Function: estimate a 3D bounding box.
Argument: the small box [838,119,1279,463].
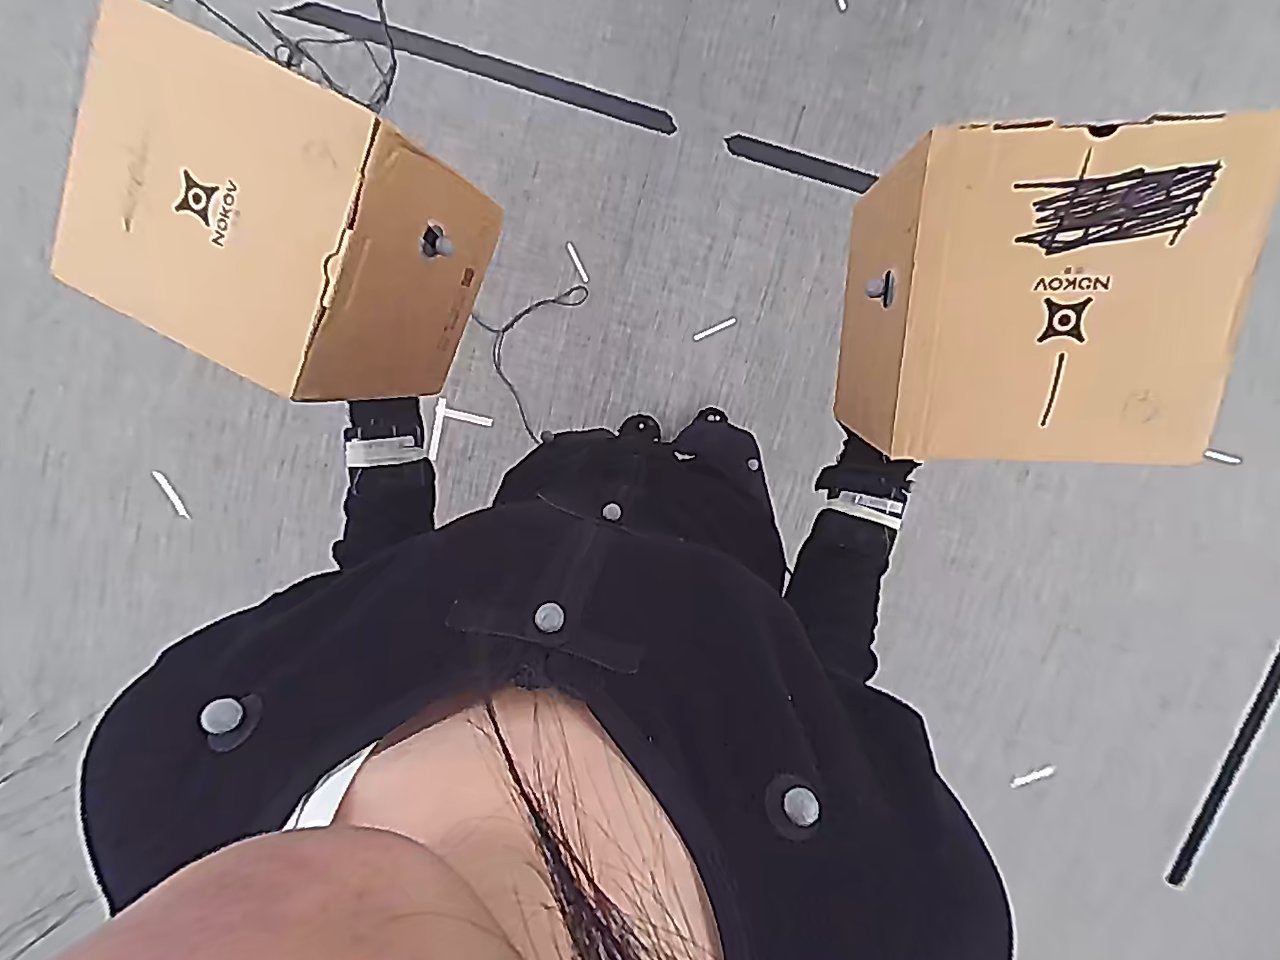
[{"bbox_3d":[0.243,-0.116,0.372,0.168,0.176,0.179,2,105,8],"label":"small box"}]

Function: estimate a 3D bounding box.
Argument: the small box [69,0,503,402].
[{"bbox_3d":[-0.225,-0.170,0.383,0.179,0.176,0.168,27,103,4],"label":"small box"}]
